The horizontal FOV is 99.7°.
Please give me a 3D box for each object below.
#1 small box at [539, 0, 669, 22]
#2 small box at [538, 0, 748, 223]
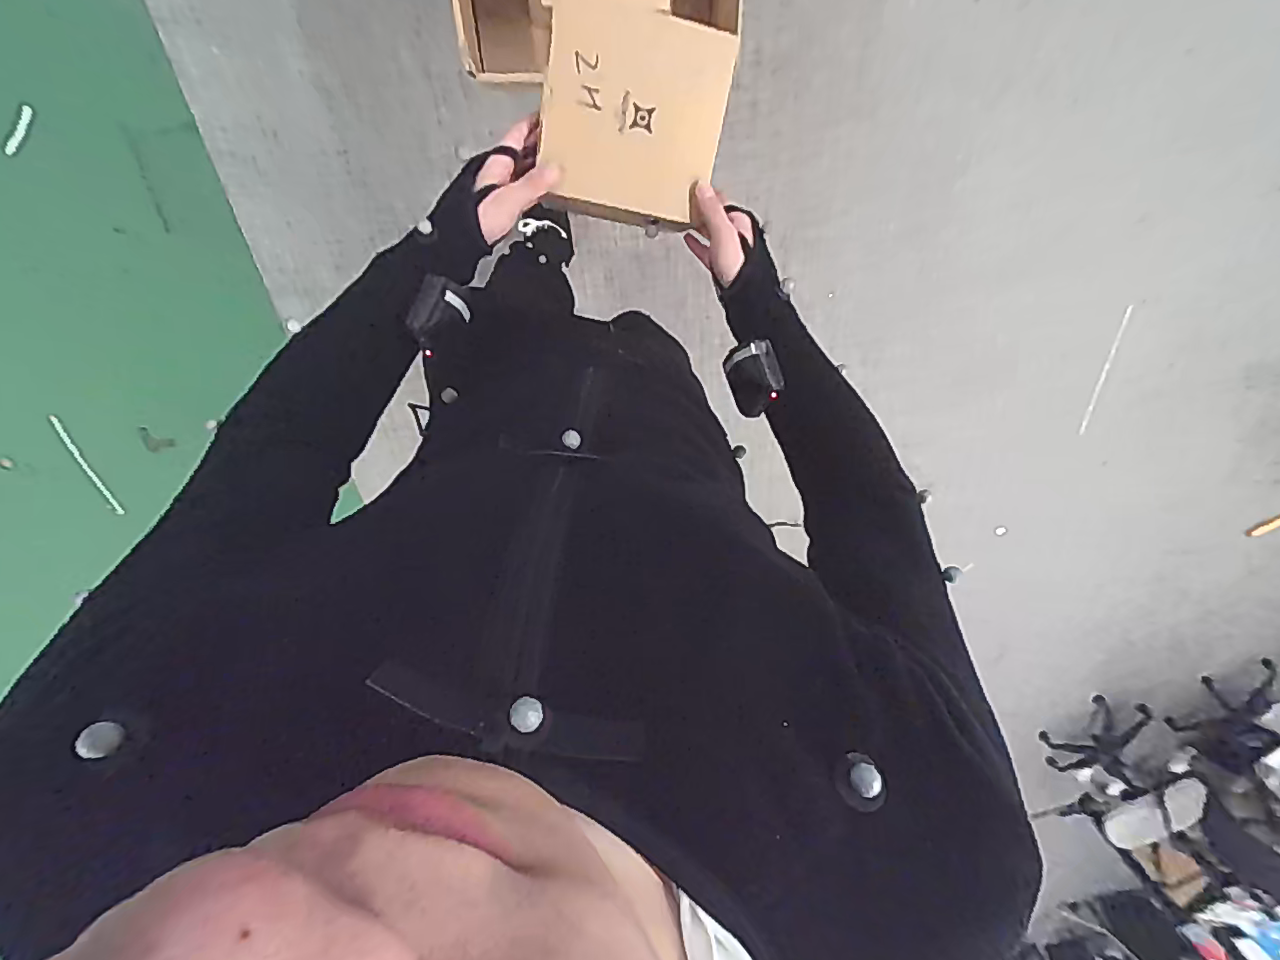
[{"bbox_3d":[-0.054,-0.731,0.724,0.179,0.176,0.168,-4,122,-8],"label":"small box"},{"bbox_3d":[-0.008,-0.384,0.584,0.179,0.176,0.168,8,111,-10],"label":"small box"}]
